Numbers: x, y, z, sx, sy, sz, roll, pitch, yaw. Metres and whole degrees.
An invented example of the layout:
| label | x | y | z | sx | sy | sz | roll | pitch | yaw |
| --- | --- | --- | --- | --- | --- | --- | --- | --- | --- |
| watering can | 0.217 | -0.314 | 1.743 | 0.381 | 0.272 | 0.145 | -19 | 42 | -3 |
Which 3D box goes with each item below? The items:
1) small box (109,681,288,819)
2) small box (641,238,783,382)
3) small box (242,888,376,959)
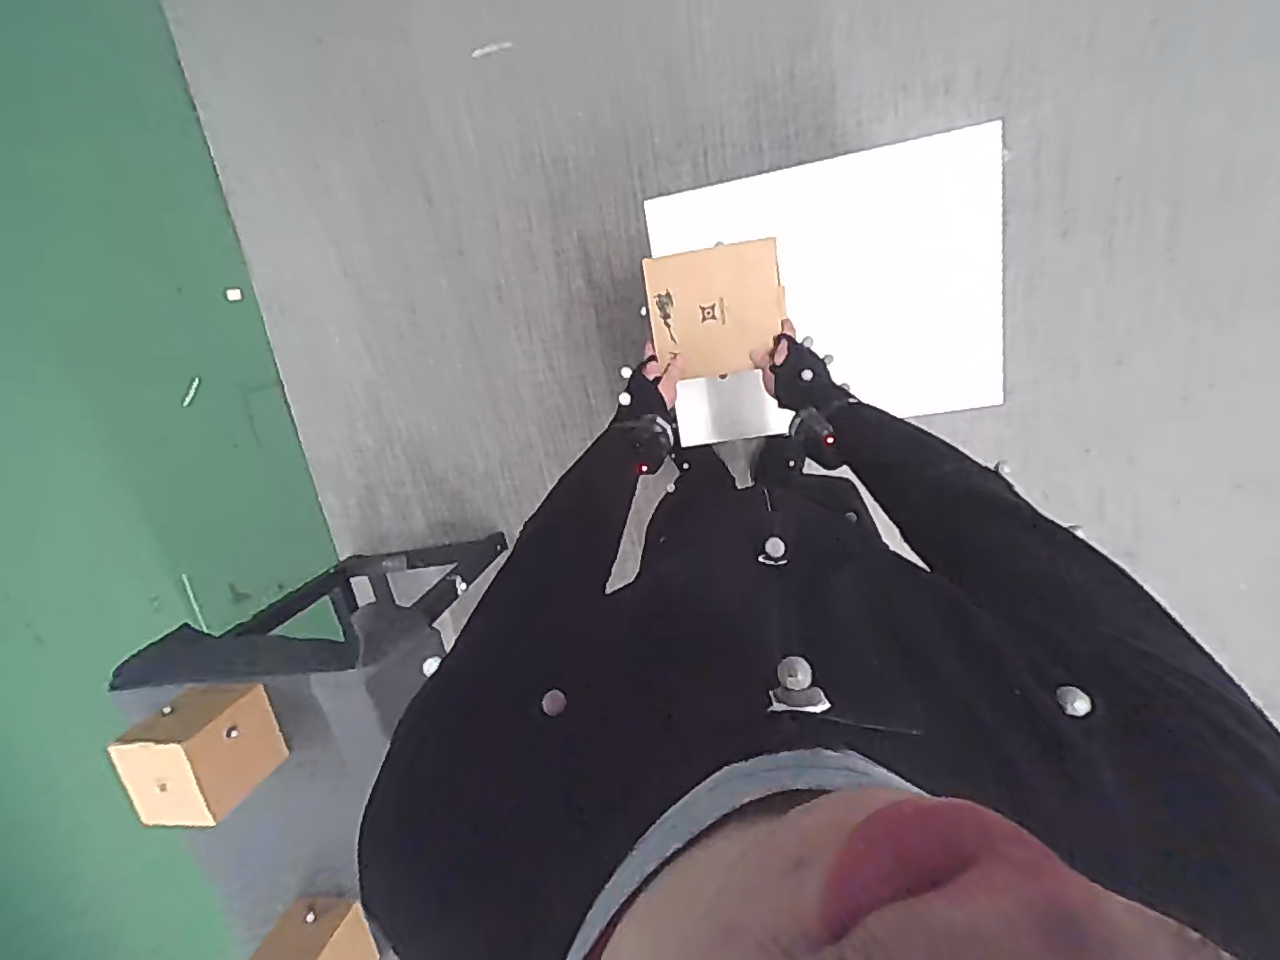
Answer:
| label | x | y | z | sx | sy | sz | roll | pitch | yaw |
| --- | --- | --- | --- | --- | --- | --- | --- | --- | --- |
| small box | -0.818 | 0.500 | 1.021 | 0.168 | 0.176 | 0.179 | -6 | 106 | 12 |
| small box | 0.104 | -0.243 | 0.788 | 0.179 | 0.176 | 0.168 | -6 | 105 | 9 |
| small box | -0.700 | 1.021 | 1.154 | 0.168 | 0.176 | 0.179 | -7 | 104 | 11 |
